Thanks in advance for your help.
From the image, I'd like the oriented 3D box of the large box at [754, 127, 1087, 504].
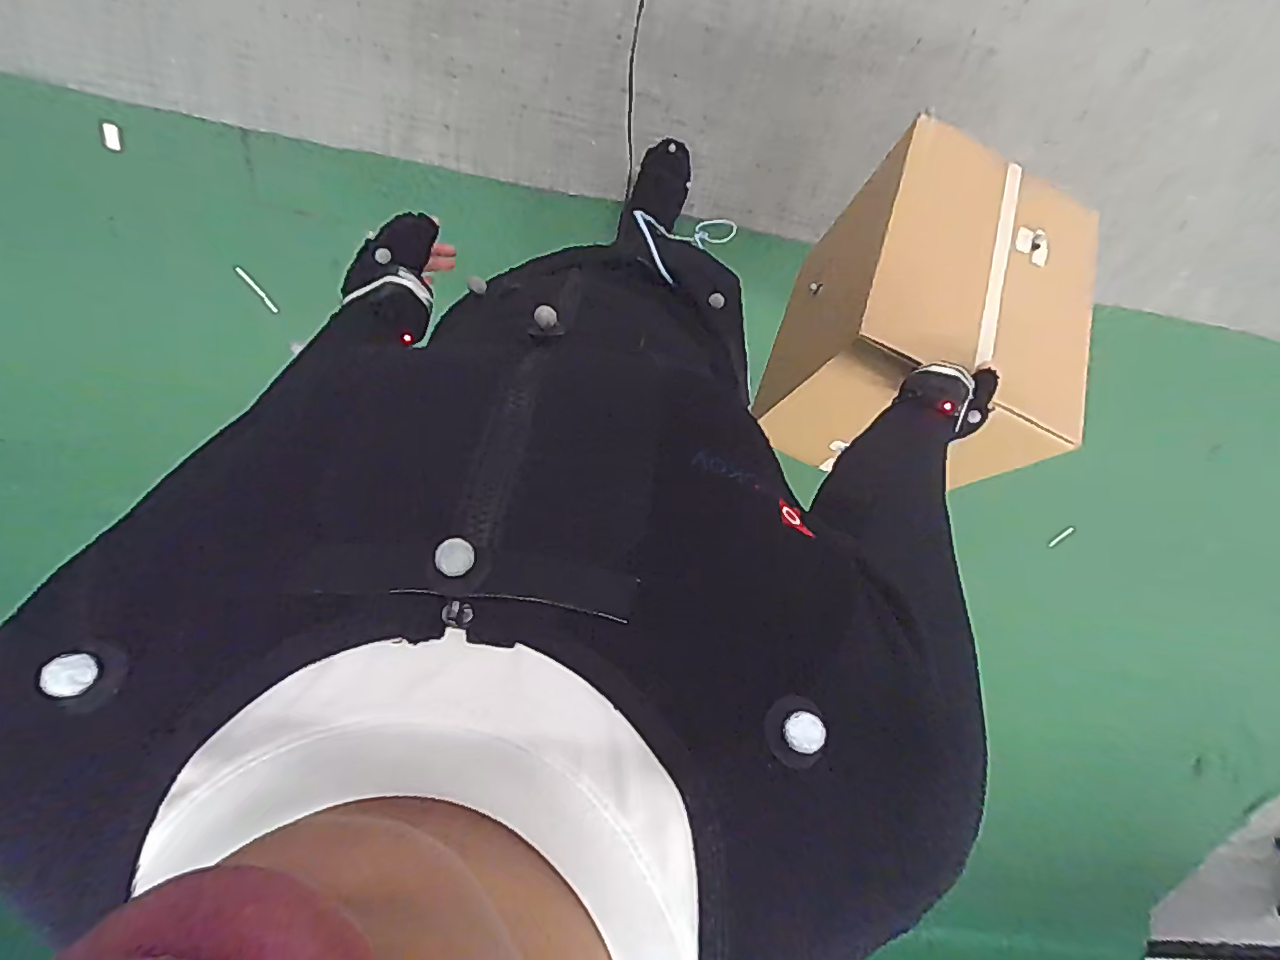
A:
[{"bbox_3d":[0.422,-0.226,0.850,0.320,0.320,0.408,24,69,-7],"label":"large box"}]
